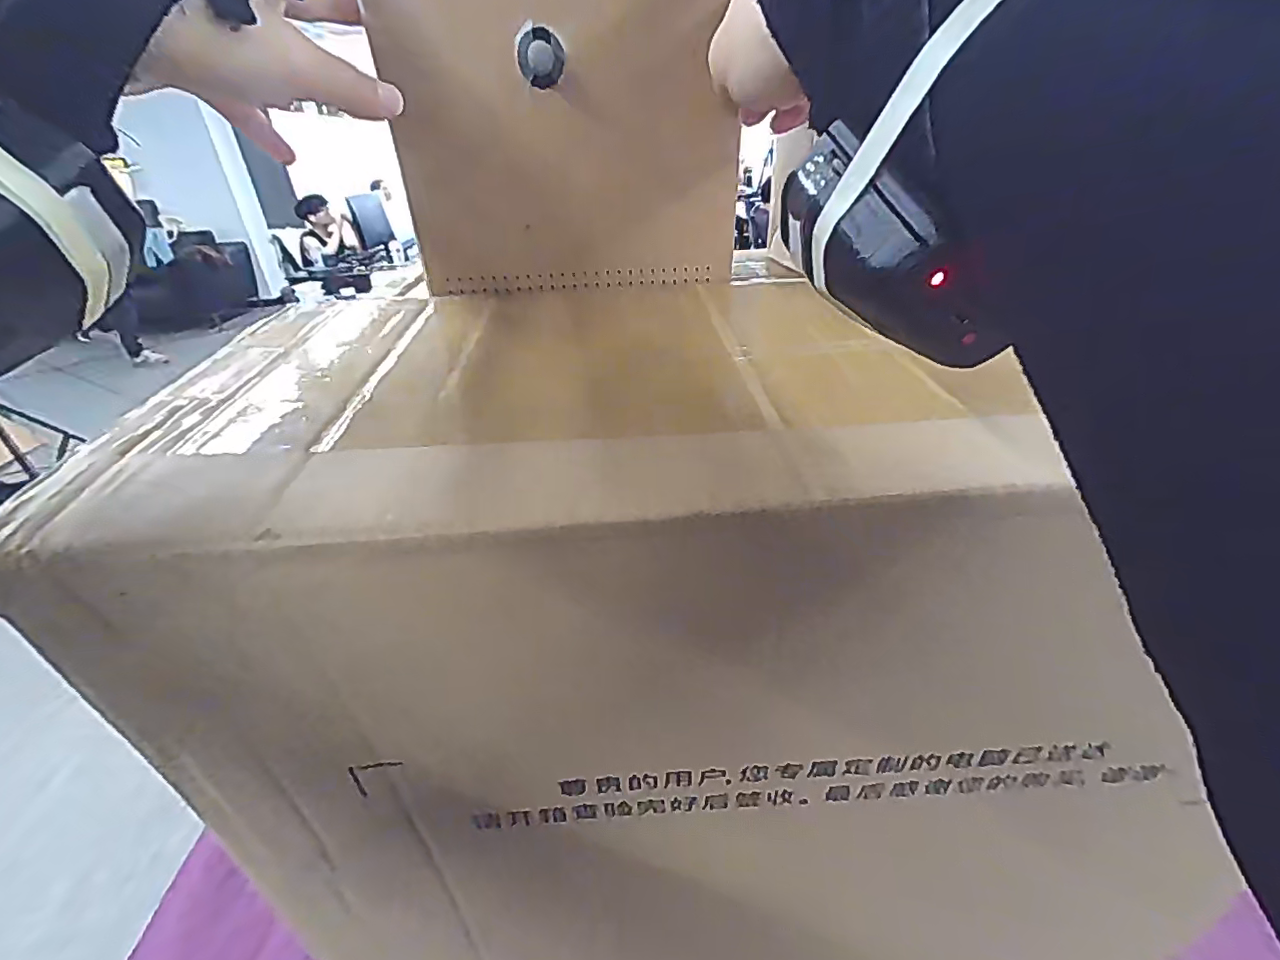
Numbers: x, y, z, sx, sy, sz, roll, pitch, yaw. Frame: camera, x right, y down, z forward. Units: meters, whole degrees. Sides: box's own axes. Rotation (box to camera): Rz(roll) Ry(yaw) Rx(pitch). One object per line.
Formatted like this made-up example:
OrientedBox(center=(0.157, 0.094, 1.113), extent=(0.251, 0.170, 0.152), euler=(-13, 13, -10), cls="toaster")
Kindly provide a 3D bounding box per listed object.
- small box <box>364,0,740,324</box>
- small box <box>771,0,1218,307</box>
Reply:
OrientedBox(center=(-0.041, -0.203, 0.339), extent=(0.179, 0.176, 0.168), euler=(-2, 36, -3), cls="small box")
OrientedBox(center=(0.200, -0.226, 0.364), extent=(0.179, 0.176, 0.168), euler=(-8, 32, -5), cls="small box")
